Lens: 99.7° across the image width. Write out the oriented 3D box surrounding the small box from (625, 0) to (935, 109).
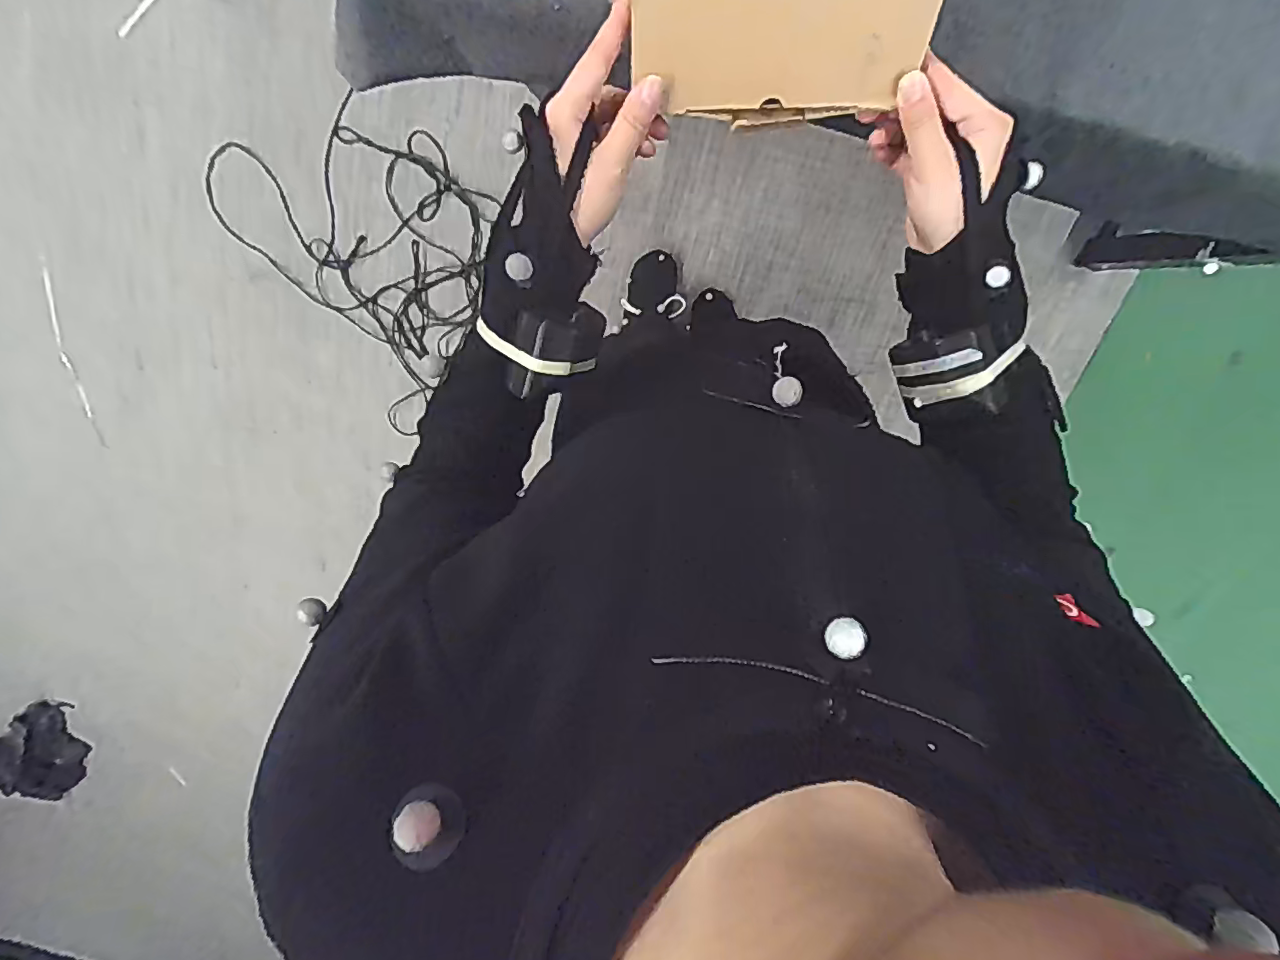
[{"bbox_3d":[0.073,-0.338,0.304,0.168,0.176,0.179,-1,140,1],"label":"small box"}]
